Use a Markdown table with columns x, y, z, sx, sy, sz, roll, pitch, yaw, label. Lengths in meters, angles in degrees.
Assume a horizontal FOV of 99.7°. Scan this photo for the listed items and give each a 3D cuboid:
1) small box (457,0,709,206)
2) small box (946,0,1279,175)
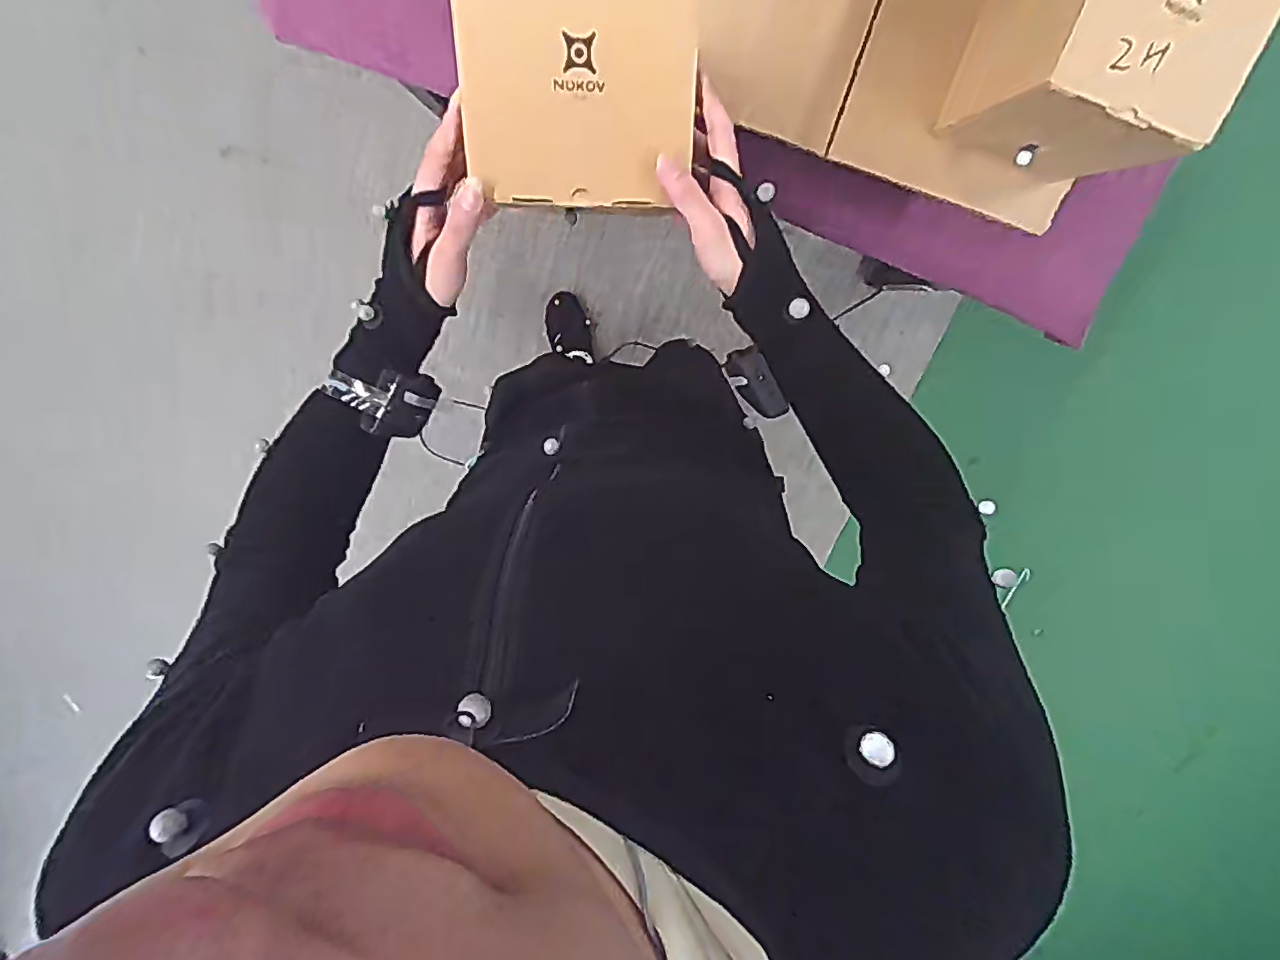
| x | y | z | sx | sy | sz | roll | pitch | yaw | label |
| --- | --- | --- | --- | --- | --- | --- | --- | --- | --- |
| -0.044 | -0.321 | 0.431 | 0.168 | 0.176 | 0.179 | 0 | 116 | -5 | small box |
| 0.428 | -0.412 | 0.498 | 0.168 | 0.176 | 0.179 | 14 | 109 | -9 | small box |
